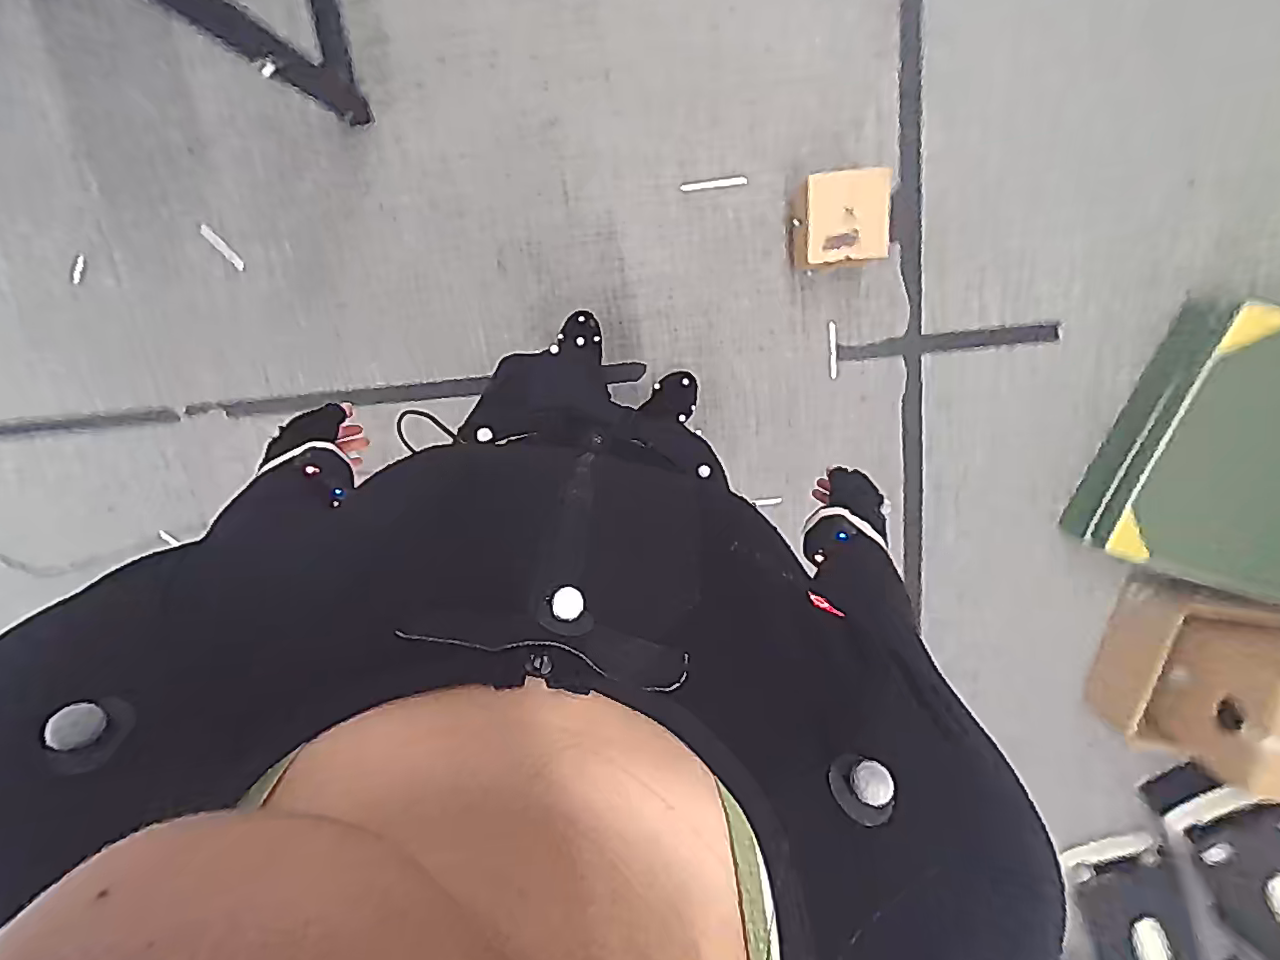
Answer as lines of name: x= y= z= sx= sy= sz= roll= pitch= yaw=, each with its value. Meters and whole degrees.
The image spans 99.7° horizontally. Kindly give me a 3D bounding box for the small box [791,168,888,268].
small box: x=0.441 y=-0.577 z=1.216 sx=0.168 sy=0.176 sz=0.179 roll=-3 pitch=105 yaw=5
